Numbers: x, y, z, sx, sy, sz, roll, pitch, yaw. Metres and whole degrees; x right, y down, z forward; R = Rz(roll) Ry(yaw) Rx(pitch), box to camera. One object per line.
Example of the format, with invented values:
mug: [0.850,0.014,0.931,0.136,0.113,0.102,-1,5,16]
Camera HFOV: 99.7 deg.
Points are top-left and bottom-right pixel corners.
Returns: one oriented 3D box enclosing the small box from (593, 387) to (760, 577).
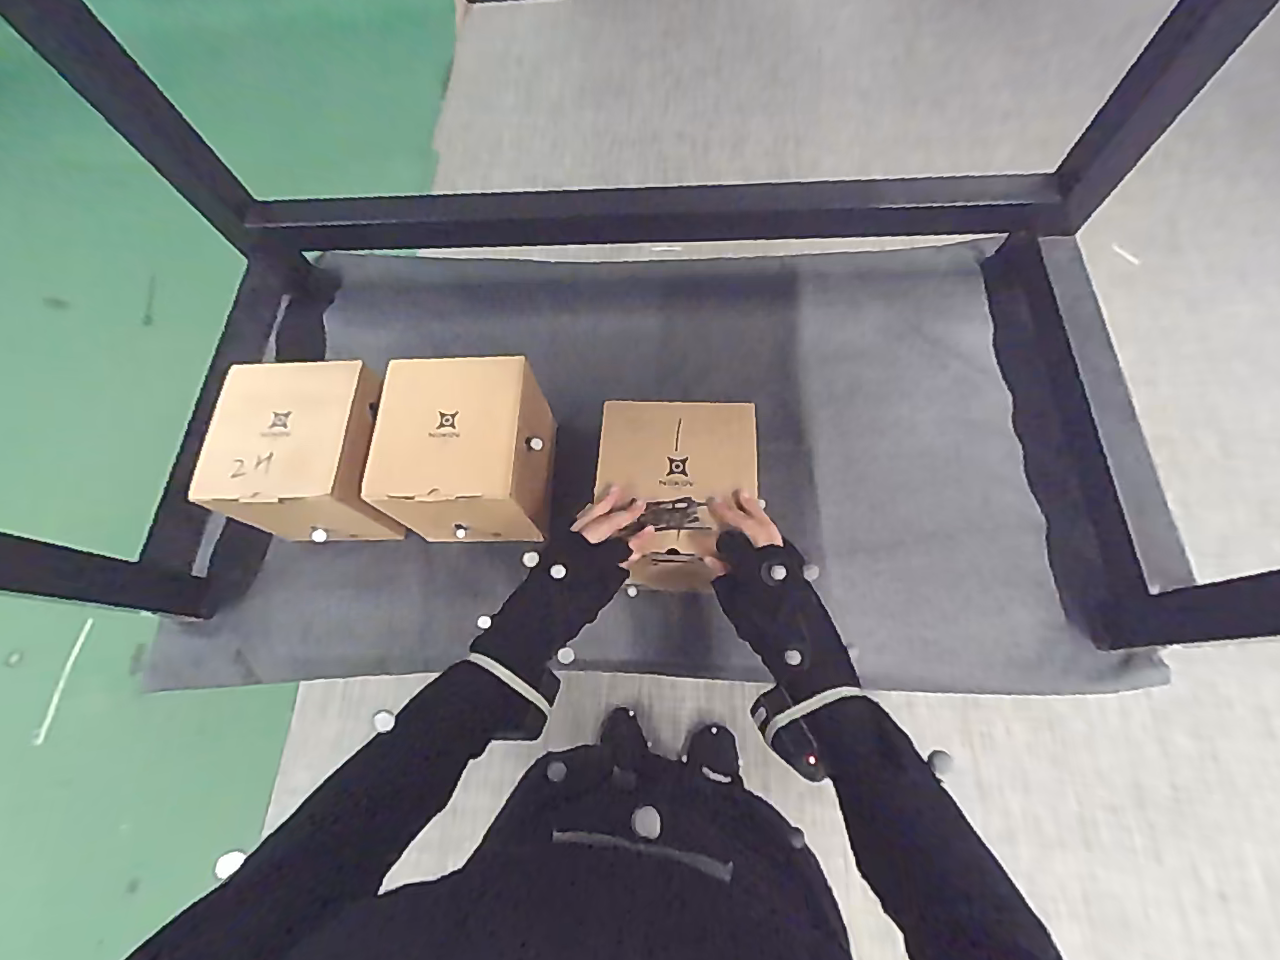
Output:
small box: [0.048,0.010,0.626,0.168,0.176,0.179,2,68,6]

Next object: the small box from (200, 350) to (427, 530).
small box: [-0.393,-0.043,0.688,0.168,0.176,0.179,-2,69,5]
